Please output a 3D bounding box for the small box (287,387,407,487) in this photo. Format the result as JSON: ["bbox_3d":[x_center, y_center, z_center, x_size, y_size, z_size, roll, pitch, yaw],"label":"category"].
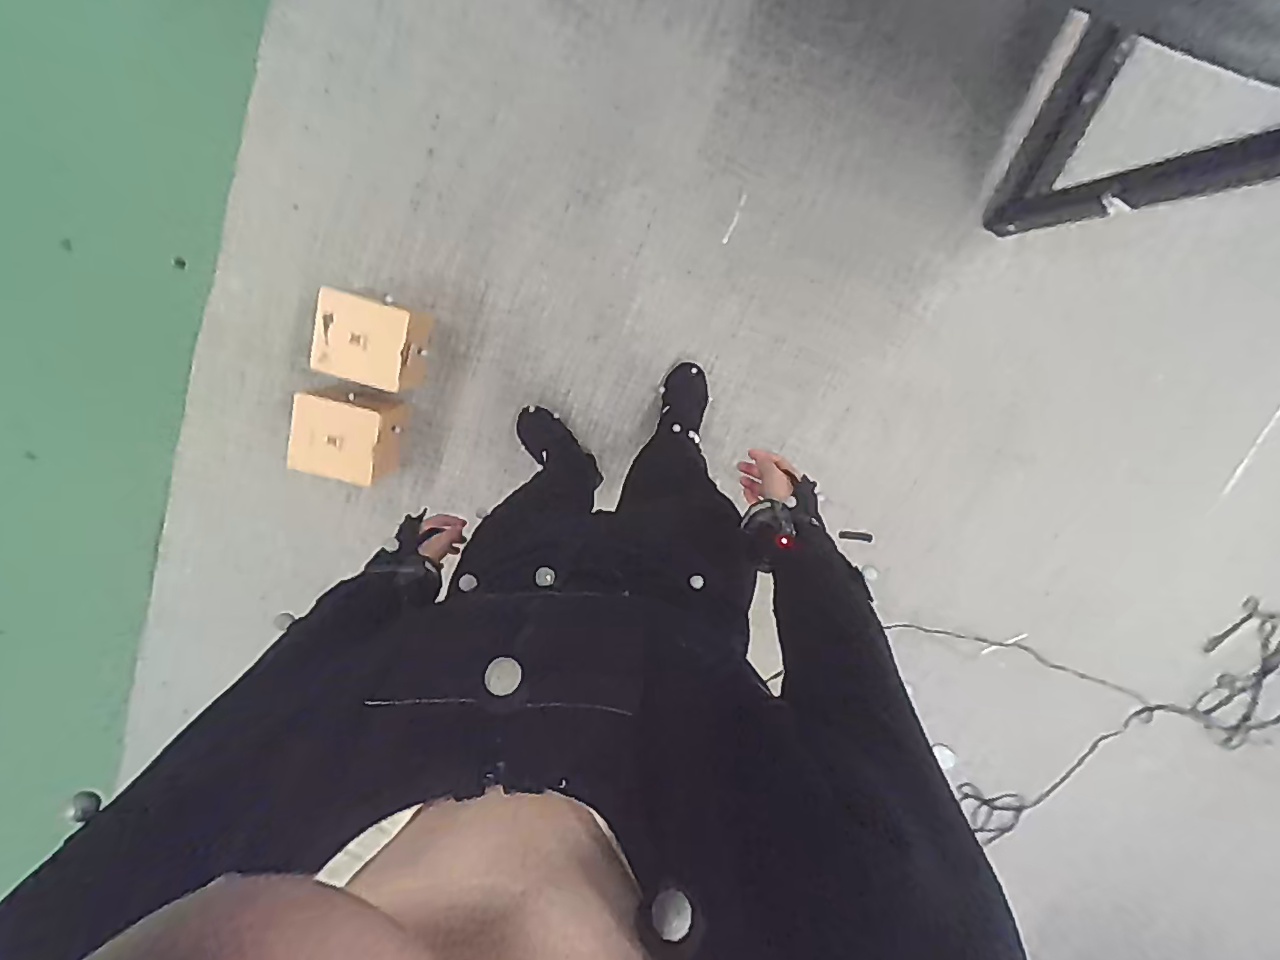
[{"bbox_3d":[-0.639,-0.102,1.196,0.179,0.176,0.168,14,104,-7],"label":"small box"}]
